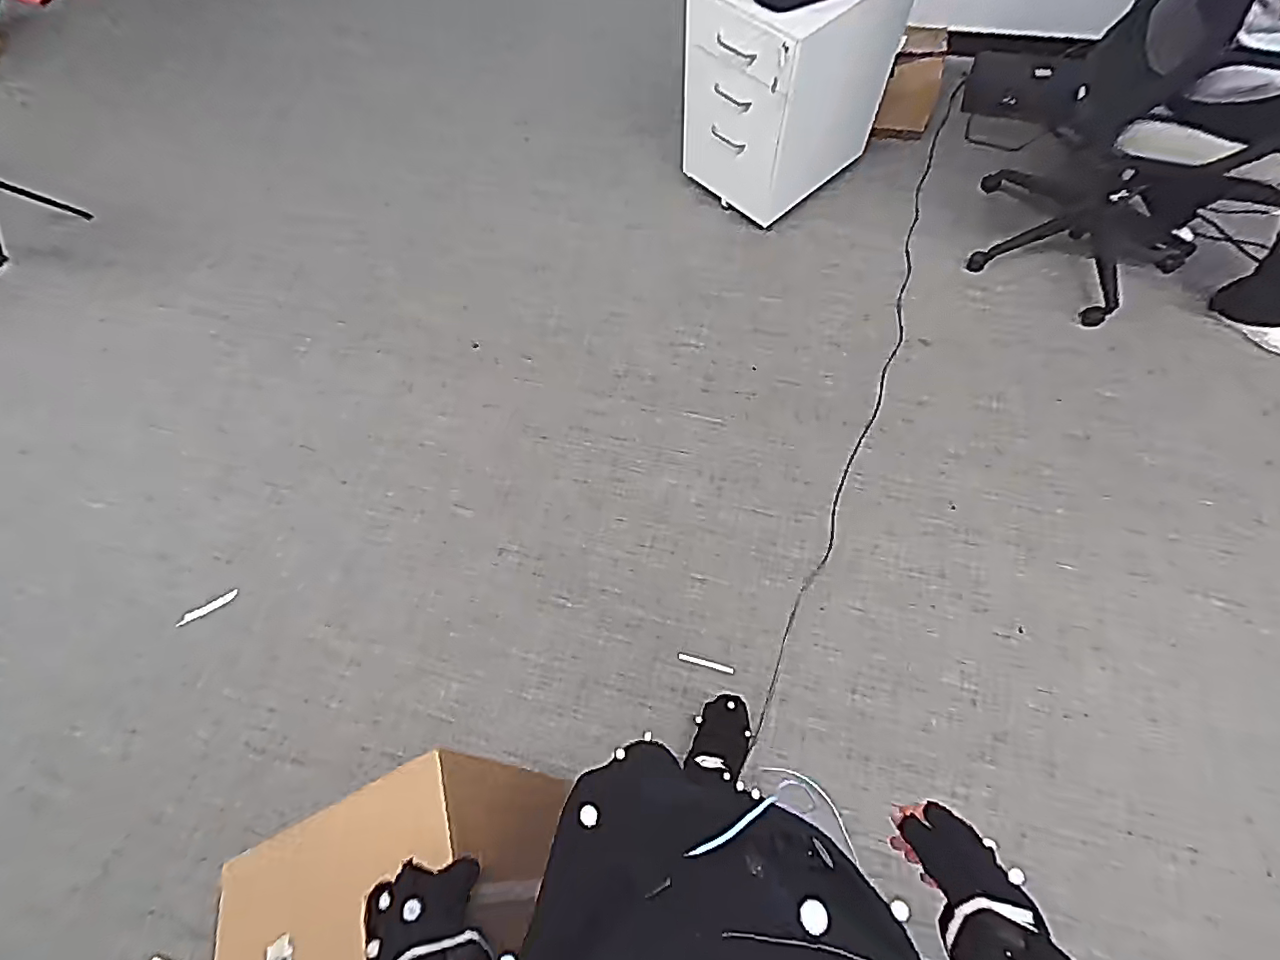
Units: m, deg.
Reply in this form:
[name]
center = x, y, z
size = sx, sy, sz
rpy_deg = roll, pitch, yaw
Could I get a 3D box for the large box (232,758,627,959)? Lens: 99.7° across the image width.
[large box]
center = -0.254, 0.621, 0.732
size = 0.320, 0.408, 0.320
rpy_deg = -27, 52, 2
